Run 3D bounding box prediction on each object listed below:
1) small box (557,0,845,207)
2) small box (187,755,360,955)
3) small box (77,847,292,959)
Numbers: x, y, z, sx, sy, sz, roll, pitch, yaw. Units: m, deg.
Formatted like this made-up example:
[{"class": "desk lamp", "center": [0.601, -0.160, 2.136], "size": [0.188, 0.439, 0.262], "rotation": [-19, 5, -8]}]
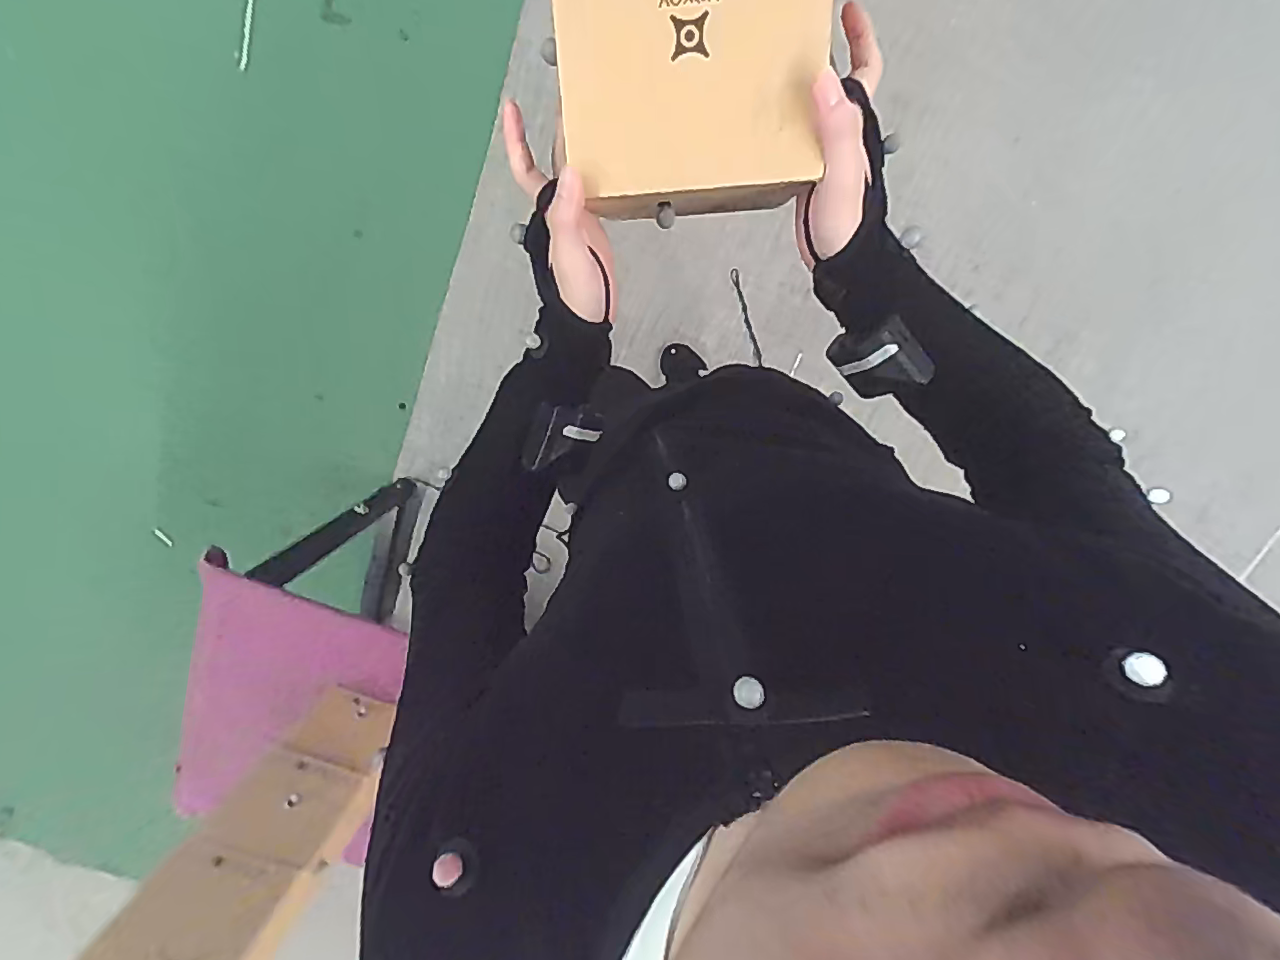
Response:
[{"class": "small box", "center": [0.041, -0.298, 0.383], "size": [0.168, 0.176, 0.179], "rotation": [-1, 111, 6]}, {"class": "small box", "center": [-0.569, 0.572, 0.844], "size": [0.168, 0.176, 0.179], "rotation": [22, 108, -4]}, {"class": "small box", "center": [-0.580, 0.622, 0.688], "size": [0.168, 0.176, 0.179], "rotation": [19, 108, -4]}]
